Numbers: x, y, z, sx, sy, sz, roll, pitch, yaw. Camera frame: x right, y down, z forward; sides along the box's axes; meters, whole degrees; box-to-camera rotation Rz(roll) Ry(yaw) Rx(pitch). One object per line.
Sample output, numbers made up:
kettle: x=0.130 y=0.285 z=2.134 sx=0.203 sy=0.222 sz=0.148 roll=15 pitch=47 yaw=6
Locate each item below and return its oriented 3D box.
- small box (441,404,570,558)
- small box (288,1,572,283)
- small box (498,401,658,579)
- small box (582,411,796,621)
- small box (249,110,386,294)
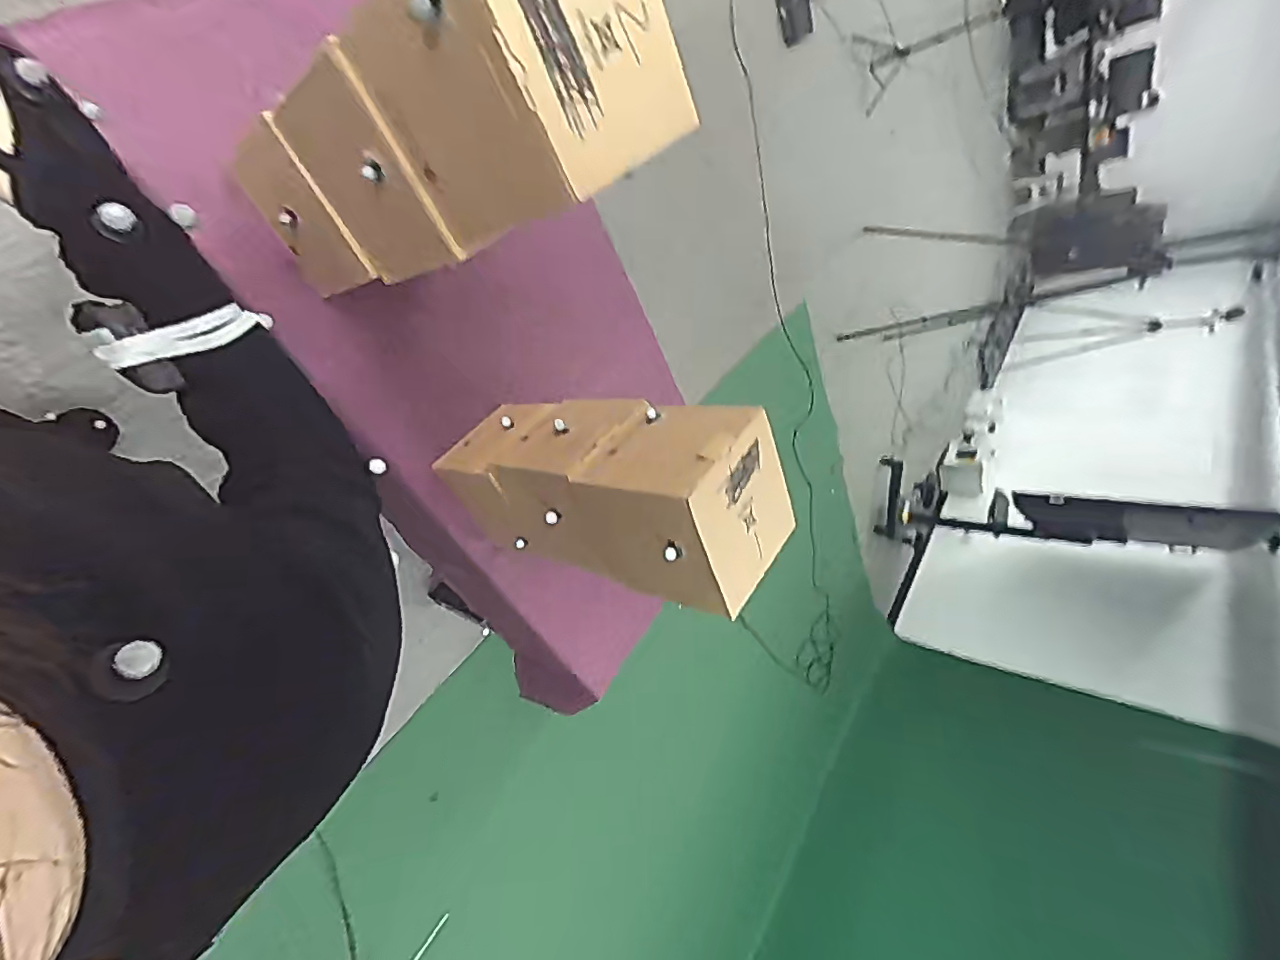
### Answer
small box: x=-0.180 y=-0.003 z=0.865 sx=0.168 sy=0.176 sz=0.179 roll=-49 pitch=129 yaw=-31
small box: x=-0.208 y=-0.322 z=0.544 sx=0.168 sy=0.176 sz=0.179 roll=-48 pitch=128 yaw=-30
small box: x=-0.063 y=0.007 z=0.750 sx=0.168 sy=0.176 sz=0.179 roll=-45 pitch=126 yaw=-33
small box: x=0.060 y=0.032 z=0.642 sx=0.168 sy=0.176 sz=0.179 roll=-46 pitch=128 yaw=-33
small box: x=-0.330 y=-0.343 z=0.652 sx=0.179 sy=0.176 sz=0.168 roll=-48 pitch=128 yaw=-31
